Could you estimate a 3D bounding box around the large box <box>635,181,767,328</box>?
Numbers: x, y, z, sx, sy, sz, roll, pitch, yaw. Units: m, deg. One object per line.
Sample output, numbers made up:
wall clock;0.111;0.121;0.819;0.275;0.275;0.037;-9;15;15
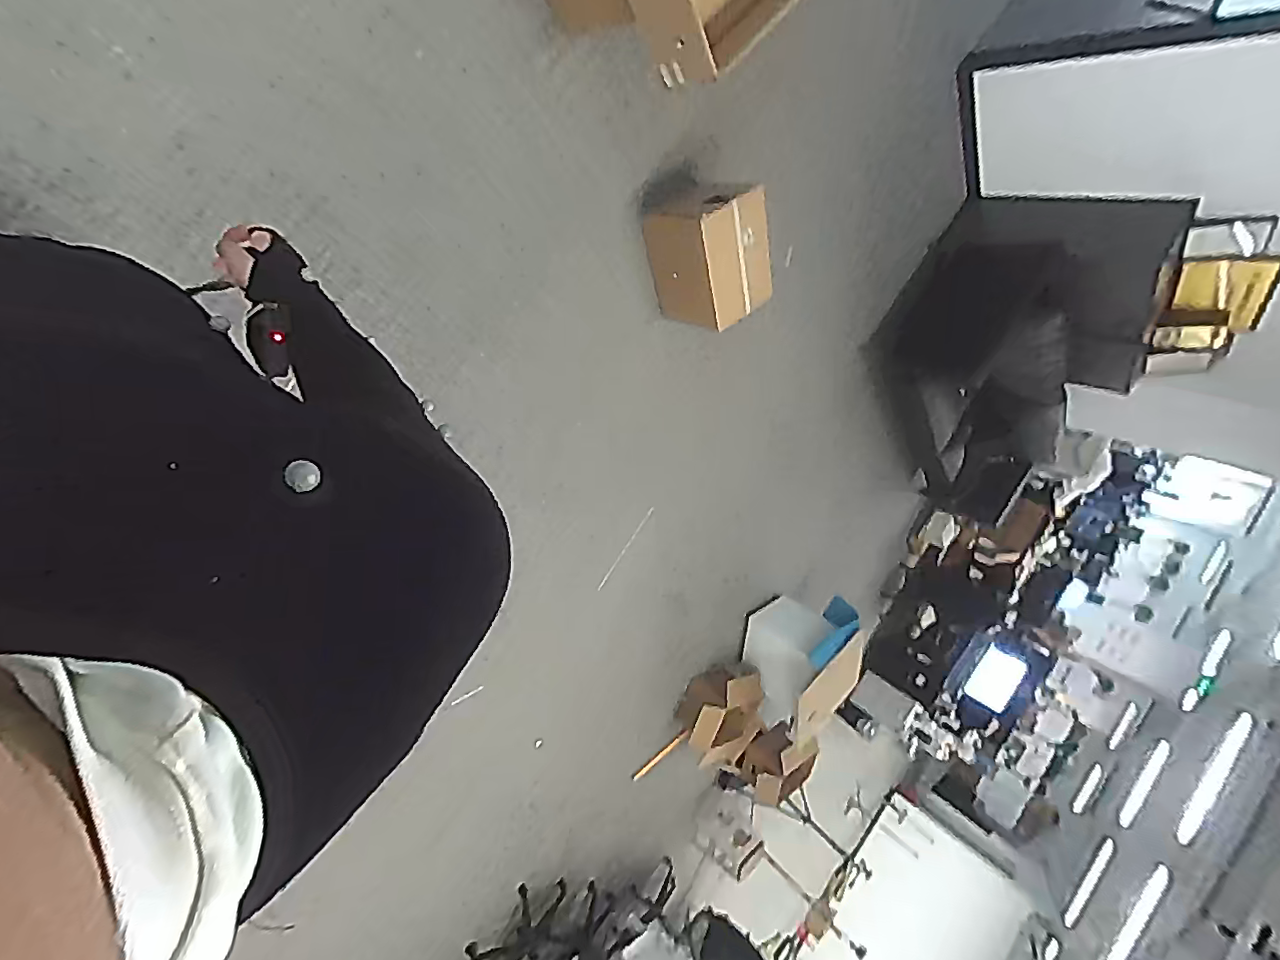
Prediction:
large box;0.231;-0.833;1.991;0.320;0.320;0.408;-39;134;-23
